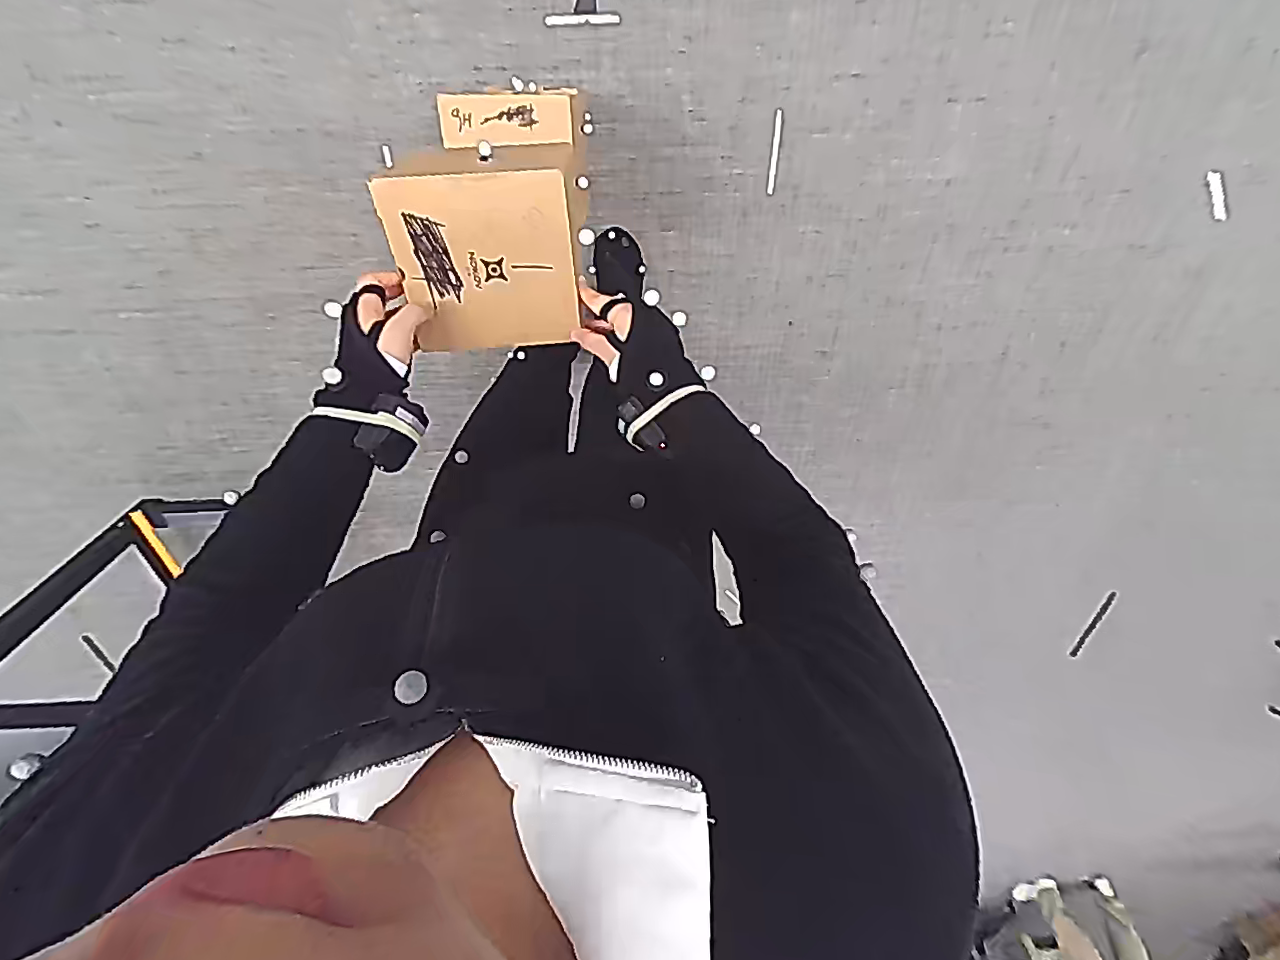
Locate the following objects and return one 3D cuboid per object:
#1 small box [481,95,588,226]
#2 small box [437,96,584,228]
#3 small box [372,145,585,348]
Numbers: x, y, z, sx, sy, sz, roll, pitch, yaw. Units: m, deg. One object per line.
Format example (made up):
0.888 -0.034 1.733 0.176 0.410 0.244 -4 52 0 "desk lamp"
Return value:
-0.175 -0.535 0.906 0.168 0.176 0.179 -1 125 -1 "small box"
-0.170 -0.440 0.773 0.168 0.176 0.179 -1 125 -2 "small box"
-0.155 -0.258 0.591 0.179 0.176 0.168 -4 129 -2 "small box"
